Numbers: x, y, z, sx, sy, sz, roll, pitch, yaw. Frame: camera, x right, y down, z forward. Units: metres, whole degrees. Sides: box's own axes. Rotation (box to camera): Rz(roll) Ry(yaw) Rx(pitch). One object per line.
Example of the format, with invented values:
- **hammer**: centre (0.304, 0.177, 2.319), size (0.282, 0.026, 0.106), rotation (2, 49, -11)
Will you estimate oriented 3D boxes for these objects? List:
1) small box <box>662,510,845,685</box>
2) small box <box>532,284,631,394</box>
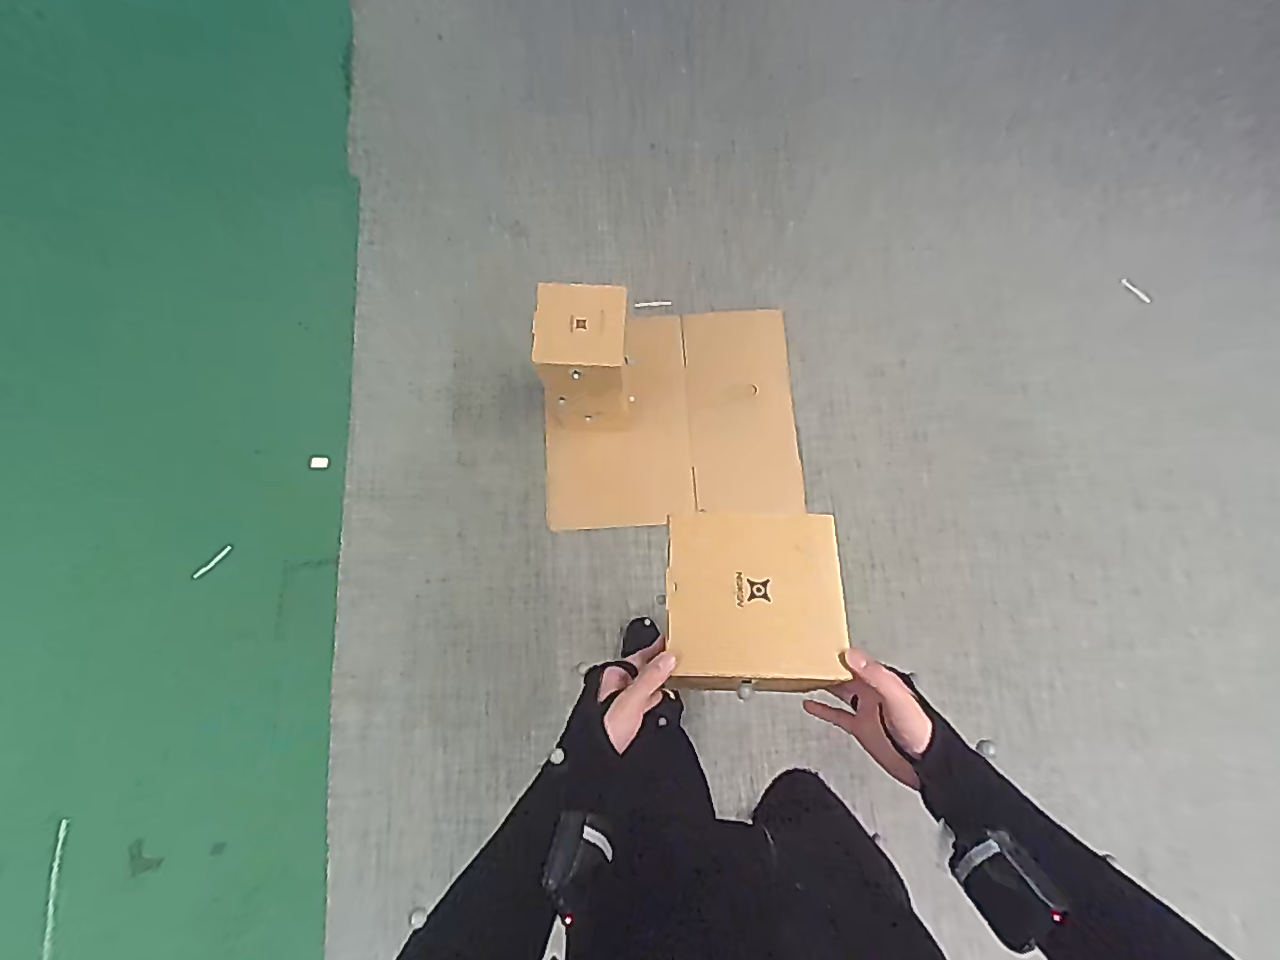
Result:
- **small box**: centre (0.115, 0.140, 0.618), size (0.179, 0.176, 0.168), rotation (0, 66, 5)
- **small box**: centre (-0.112, -0.282, 1.112), size (0.179, 0.176, 0.168), rotation (3, 80, 1)
